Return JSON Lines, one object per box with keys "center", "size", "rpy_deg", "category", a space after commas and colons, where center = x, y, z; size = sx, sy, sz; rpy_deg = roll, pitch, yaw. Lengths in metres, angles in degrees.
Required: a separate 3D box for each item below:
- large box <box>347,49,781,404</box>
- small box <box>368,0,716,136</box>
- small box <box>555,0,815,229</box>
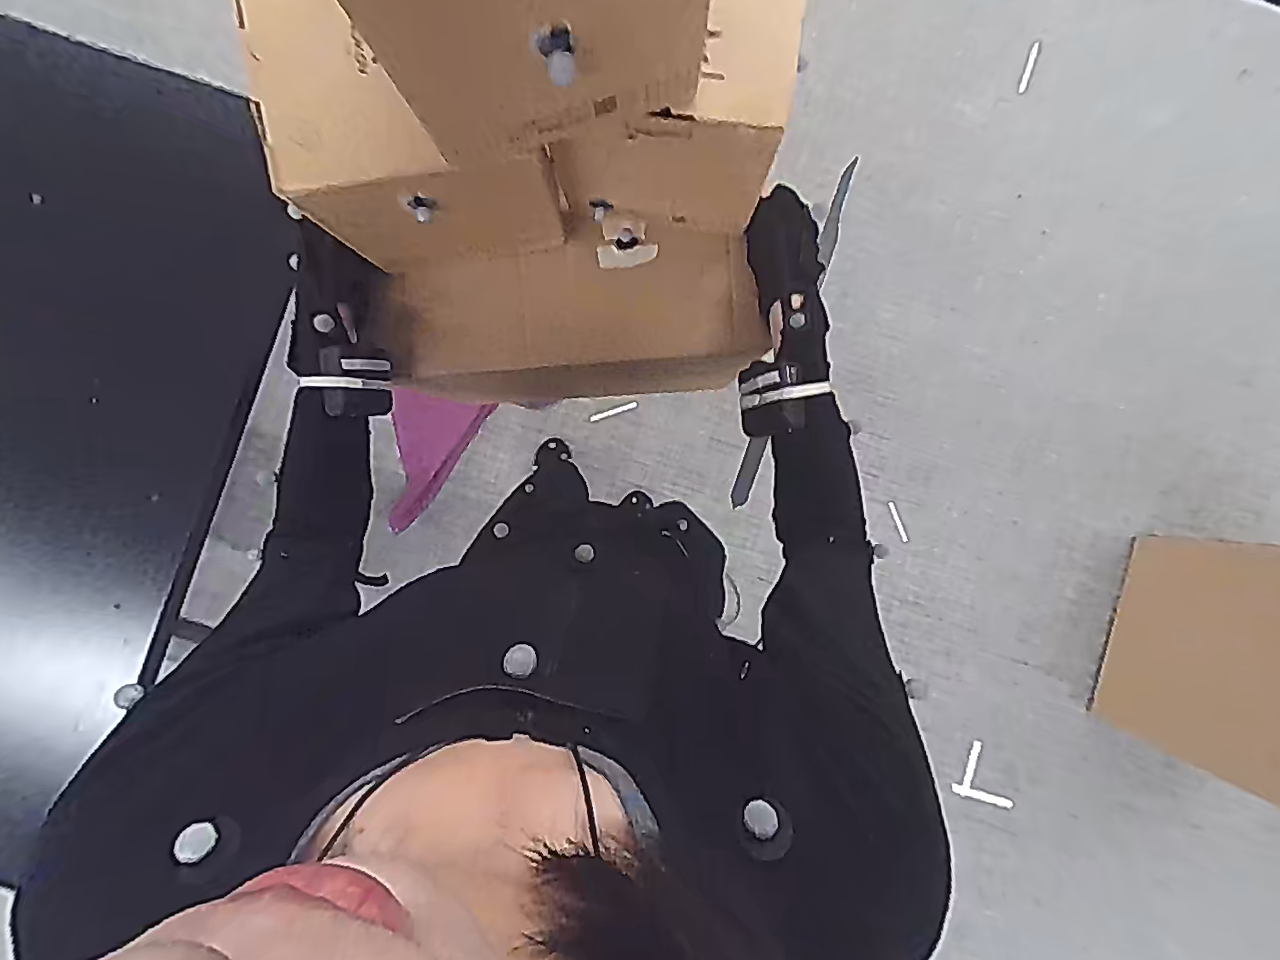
{"center": [-0.074, -0.276, 0.669], "size": [0.408, 0.320, 0.320], "rpy_deg": [-4, 93, -1], "category": "large box"}
{"center": [-0.056, -0.303, 0.261], "size": [0.168, 0.176, 0.179], "rpy_deg": [-16, 93, 1], "category": "small box"}
{"center": [0.034, -0.323, 0.423], "size": [0.168, 0.176, 0.179], "rpy_deg": [9, 91, 0], "category": "small box"}
